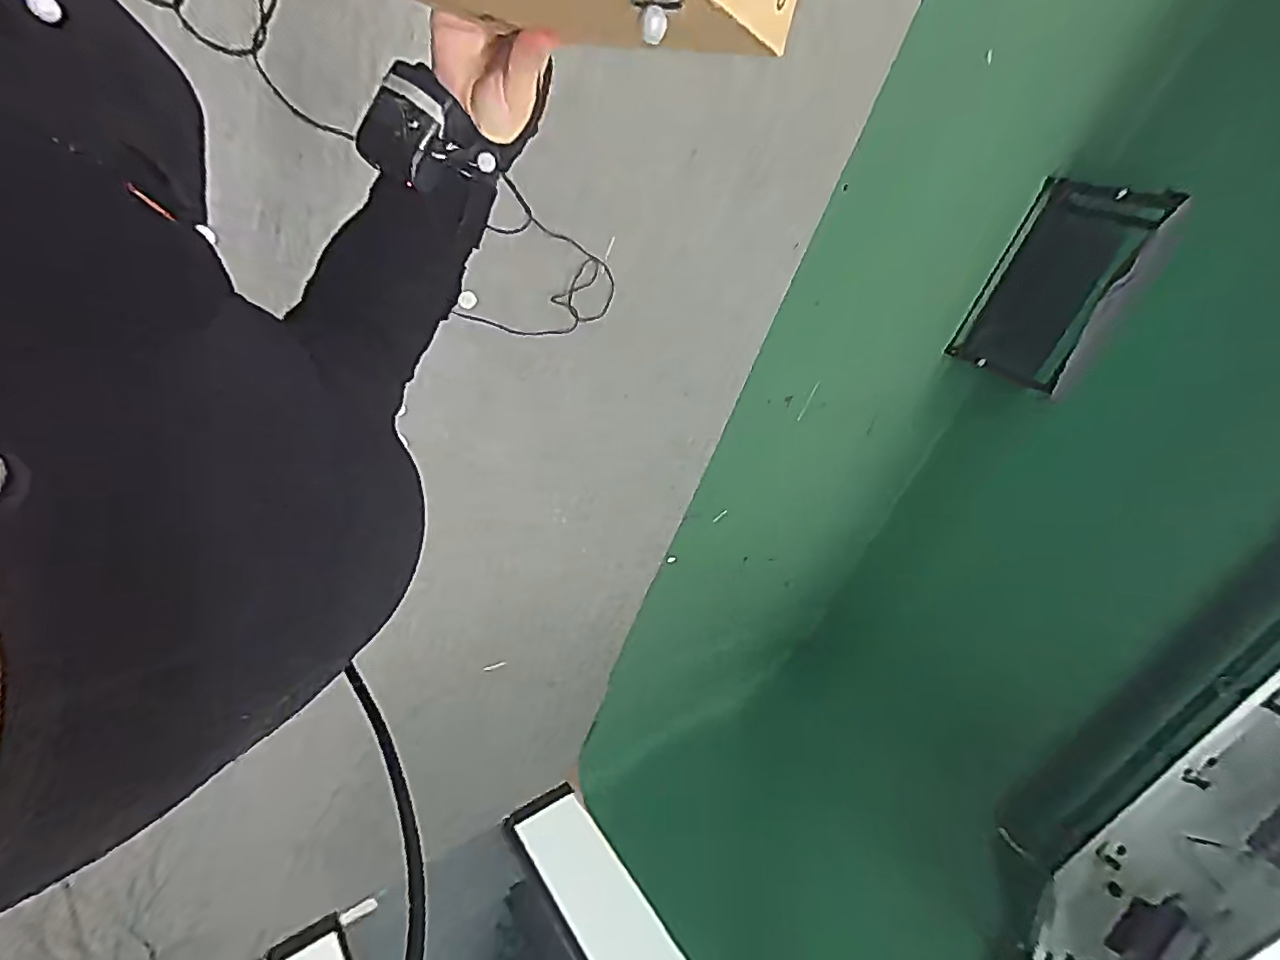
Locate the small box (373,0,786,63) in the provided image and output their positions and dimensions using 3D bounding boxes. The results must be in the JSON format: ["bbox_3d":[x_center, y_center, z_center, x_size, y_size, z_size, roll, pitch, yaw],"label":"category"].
[{"bbox_3d":[-0.031,-0.290,0.212,0.168,0.176,0.179,-38,142,-51],"label":"small box"}]
